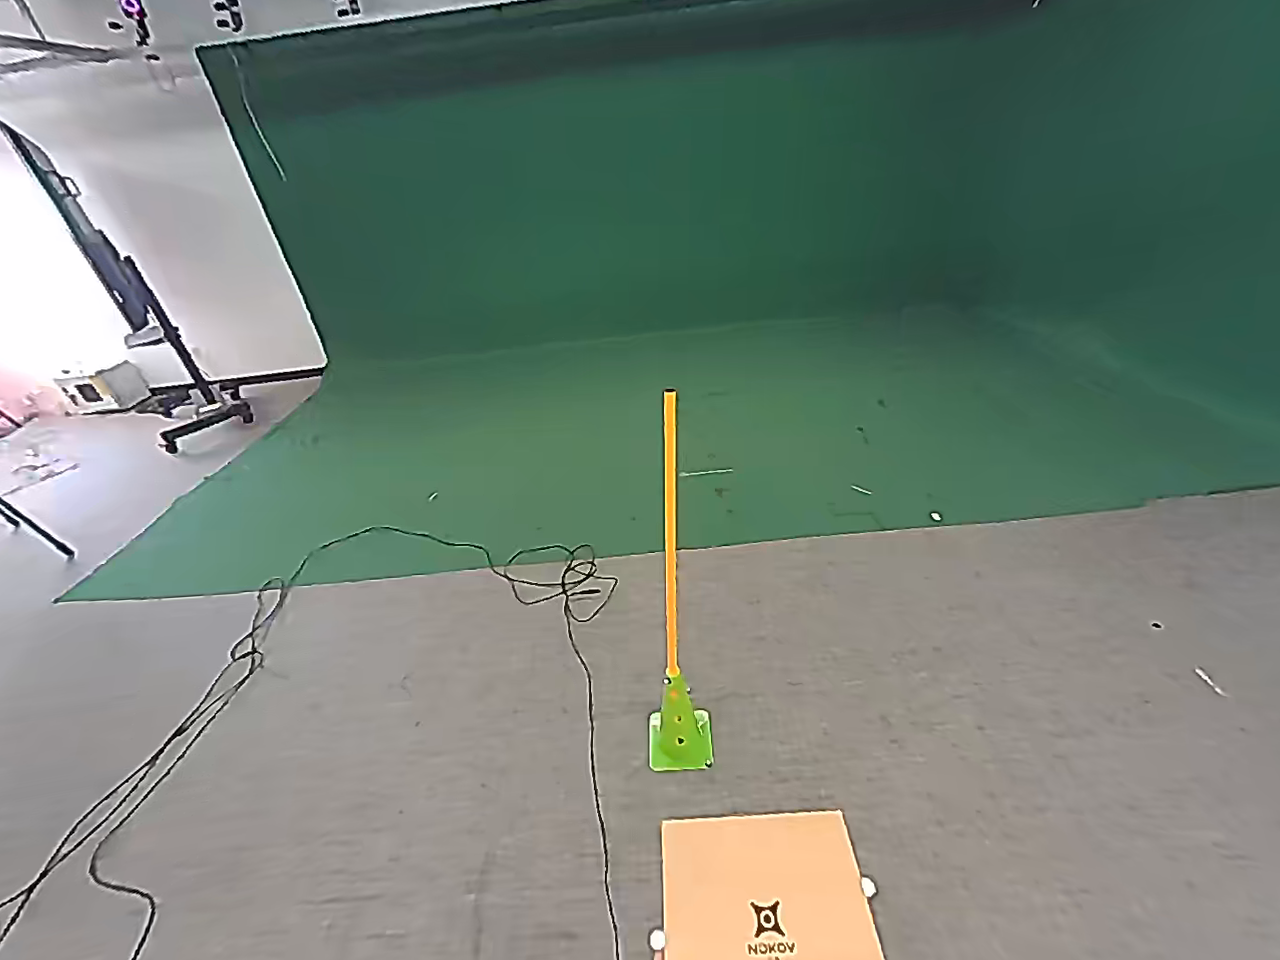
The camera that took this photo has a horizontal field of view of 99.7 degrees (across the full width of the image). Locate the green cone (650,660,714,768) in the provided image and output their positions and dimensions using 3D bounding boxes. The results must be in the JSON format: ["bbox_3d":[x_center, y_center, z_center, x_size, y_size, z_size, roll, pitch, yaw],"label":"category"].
[{"bbox_3d":[0.109,0.682,1.653,0.202,0.368,0.200,-6,32,4],"label":"green cone"}]
